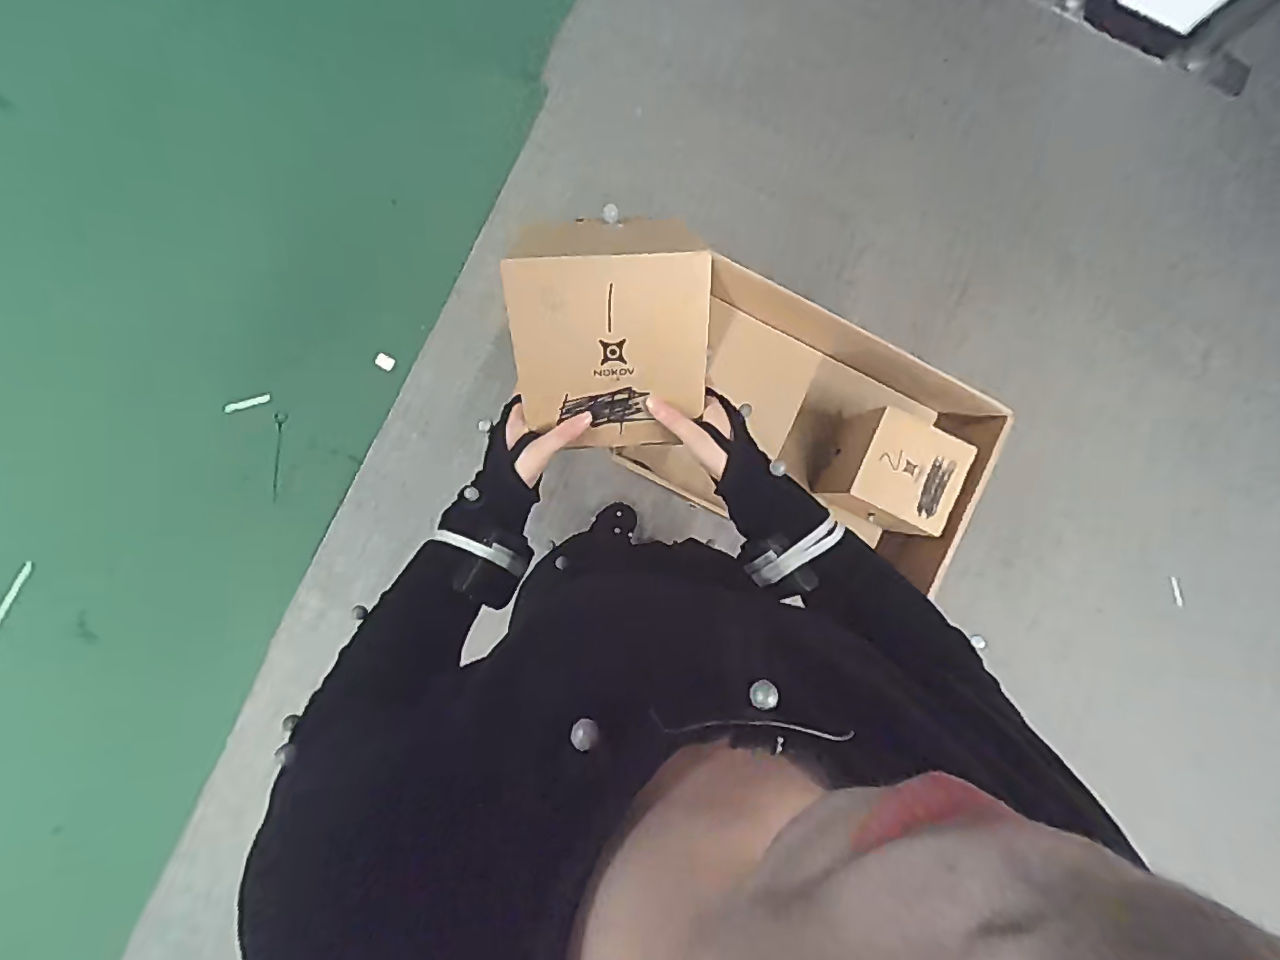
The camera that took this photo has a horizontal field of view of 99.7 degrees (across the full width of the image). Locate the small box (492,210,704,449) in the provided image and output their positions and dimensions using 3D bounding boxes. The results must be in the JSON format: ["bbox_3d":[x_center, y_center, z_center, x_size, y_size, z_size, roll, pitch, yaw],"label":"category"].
[{"bbox_3d":[-0.034,-0.150,0.525,0.168,0.176,0.179,-4,125,-2],"label":"small box"}]
